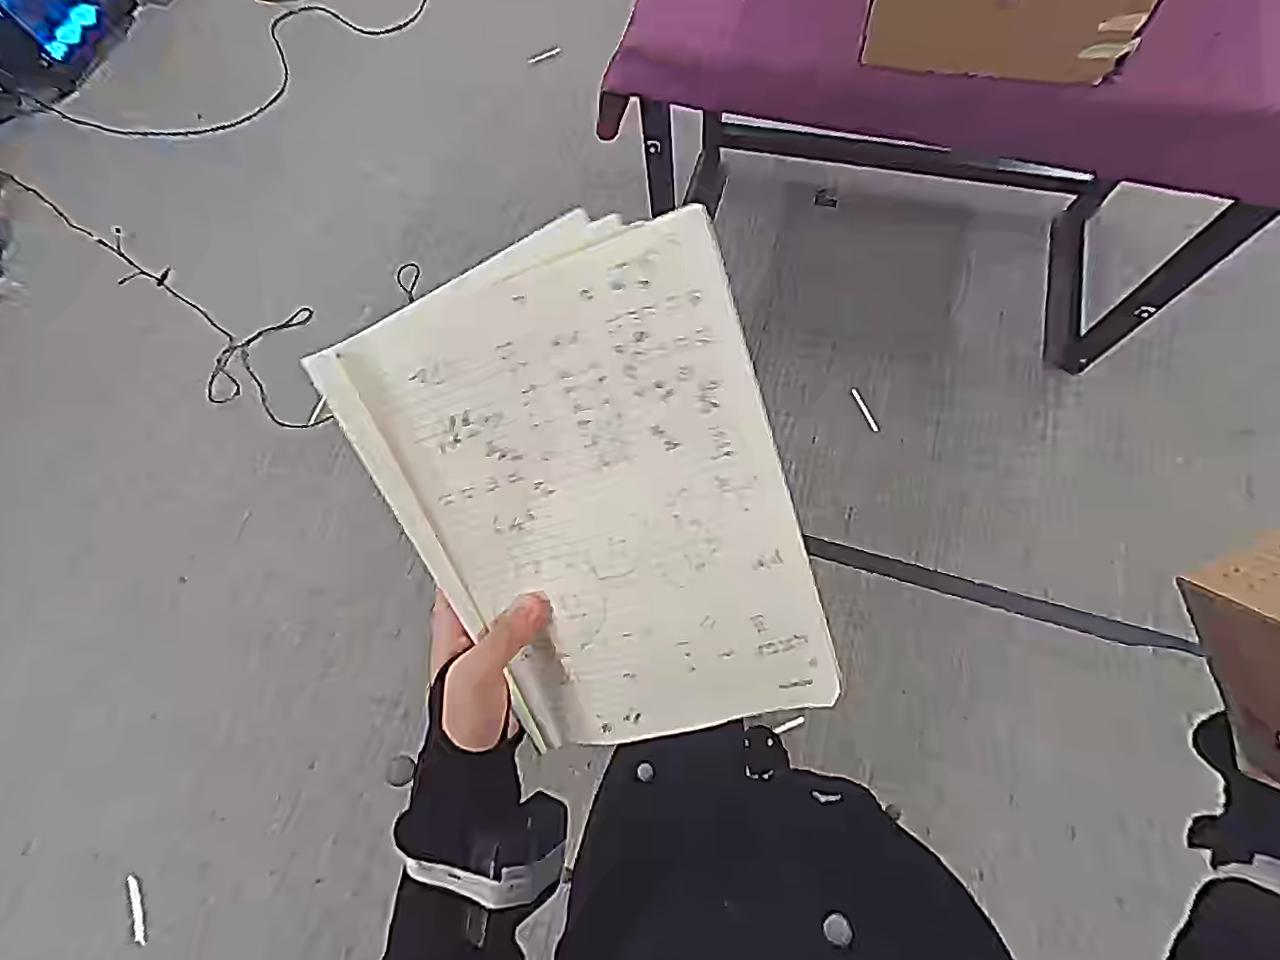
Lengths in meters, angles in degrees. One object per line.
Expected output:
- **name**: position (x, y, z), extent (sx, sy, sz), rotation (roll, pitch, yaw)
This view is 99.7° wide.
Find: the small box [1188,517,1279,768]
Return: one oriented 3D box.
- **small box**: position (0.436, 0.094, 0.252), extent (0.179, 0.176, 0.168), rotation (-32, 104, 7)
